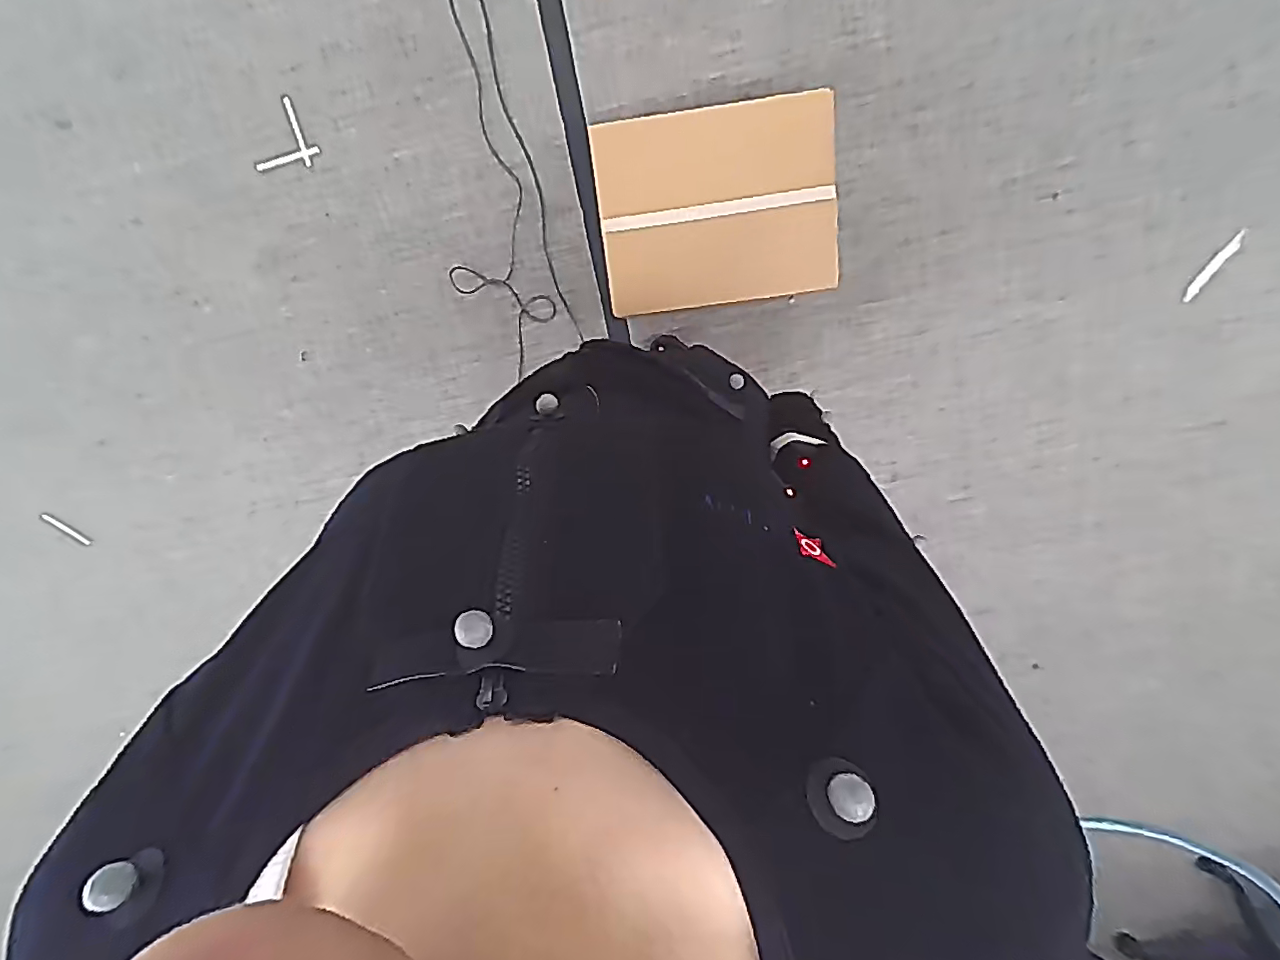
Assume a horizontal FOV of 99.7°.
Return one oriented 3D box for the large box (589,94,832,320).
[{"bbox_3d":[0.135,-0.507,1.081,0.408,0.320,0.320,-6,105,4],"label":"large box"}]
